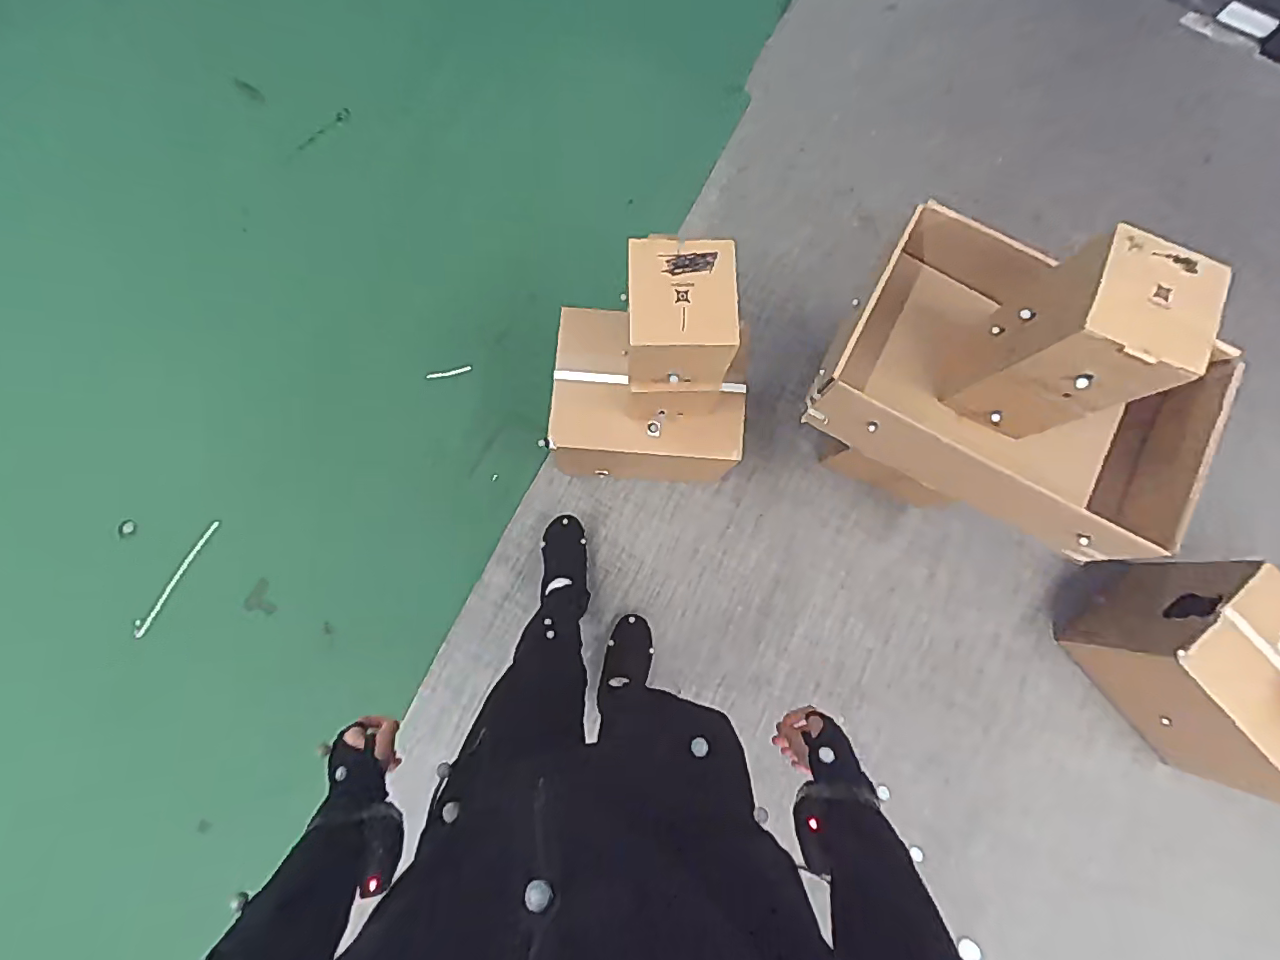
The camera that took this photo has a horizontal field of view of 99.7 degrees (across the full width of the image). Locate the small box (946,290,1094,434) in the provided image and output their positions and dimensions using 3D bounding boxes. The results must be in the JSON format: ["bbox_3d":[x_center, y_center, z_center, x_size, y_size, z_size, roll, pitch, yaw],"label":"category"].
[{"bbox_3d":[0.687,-0.207,0.963,0.168,0.176,0.179,27,81,3],"label":"small box"}]

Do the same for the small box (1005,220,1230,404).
[{"bbox_3d":[0.688,-0.235,0.802,0.168,0.176,0.179,25,82,2],"label":"small box"}]

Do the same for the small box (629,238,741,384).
[{"bbox_3d":[0.066,-0.272,0.894,0.168,0.176,0.179,0,80,-2],"label":"small box"}]
